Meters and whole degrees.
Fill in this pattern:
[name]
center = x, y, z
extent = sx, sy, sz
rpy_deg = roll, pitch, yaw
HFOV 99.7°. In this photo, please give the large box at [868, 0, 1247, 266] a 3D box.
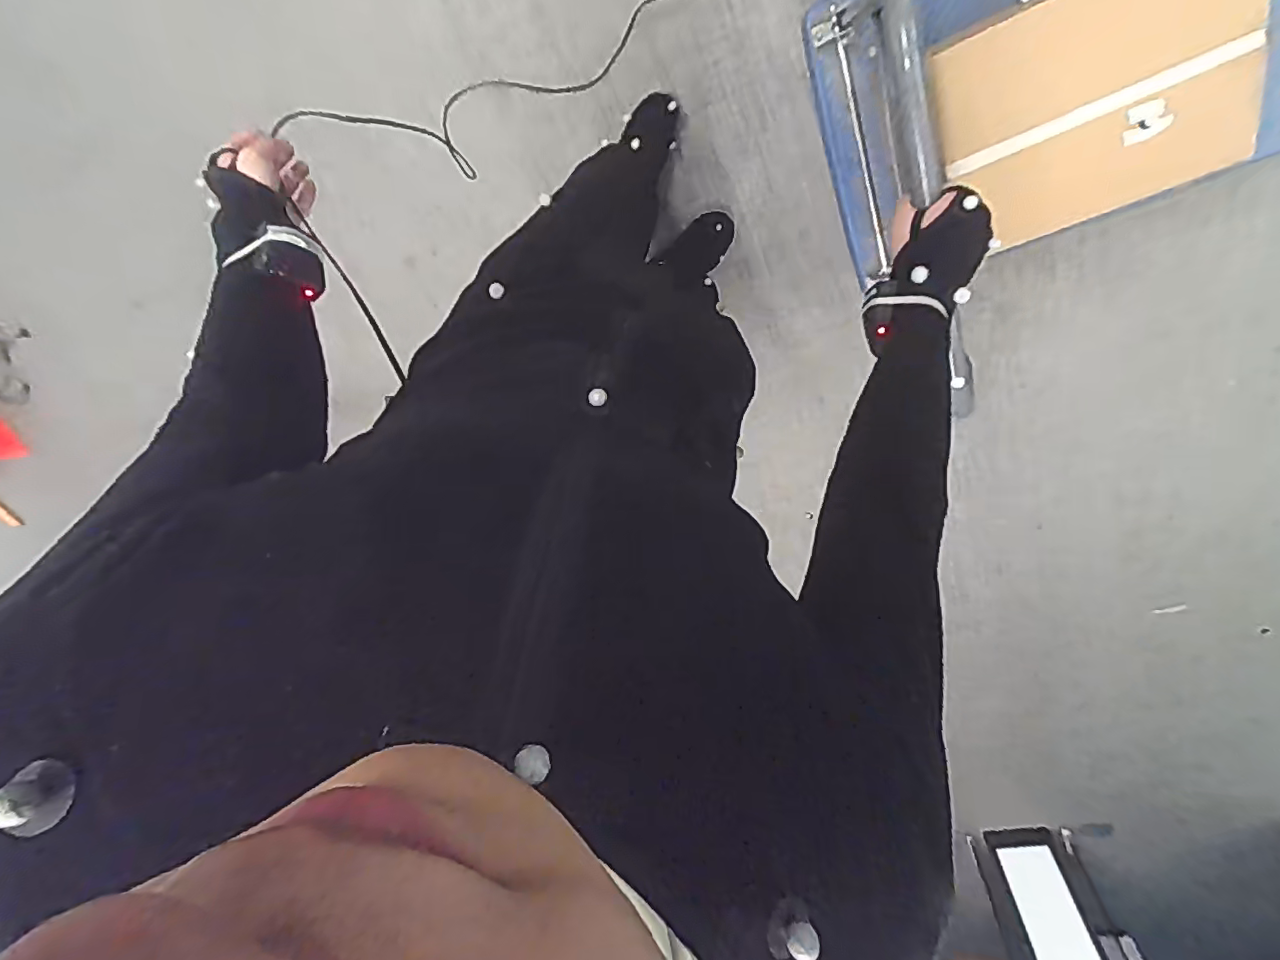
[large box]
center = 0.661, -0.624, 0.927
extent = 0.408, 0.320, 0.320
rpy_deg = -17, 119, 18
